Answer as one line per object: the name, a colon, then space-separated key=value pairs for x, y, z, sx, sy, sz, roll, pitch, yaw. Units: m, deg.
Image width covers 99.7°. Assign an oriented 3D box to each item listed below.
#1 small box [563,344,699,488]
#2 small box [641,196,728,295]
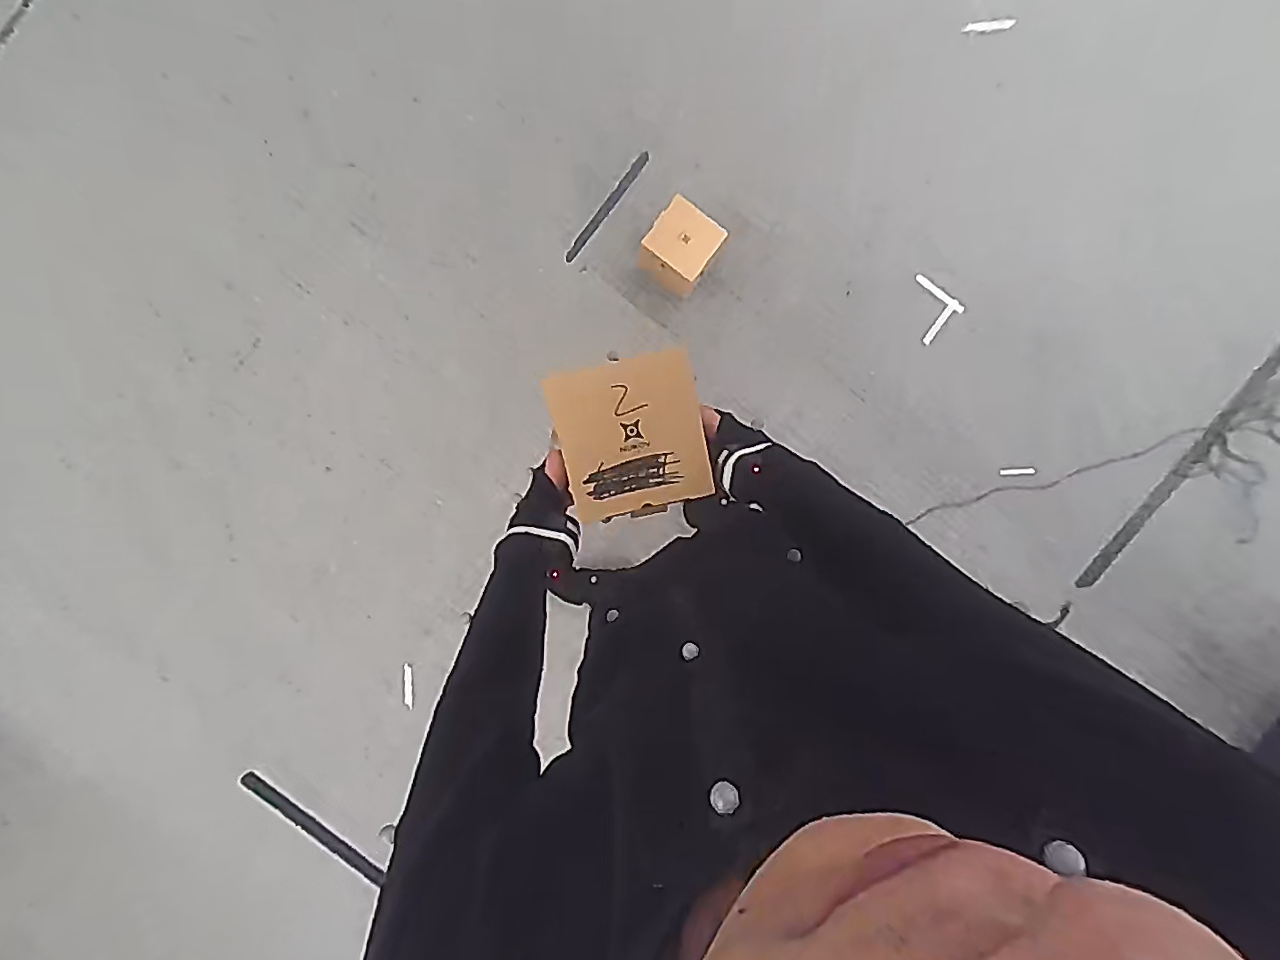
small box: x=-0.019 y=-0.104 z=0.850 sx=0.168 sy=0.176 sz=0.179 roll=-15 pitch=103 yaw=-2
small box: x=0.118 y=-0.643 z=1.513 sx=0.179 sy=0.176 sz=0.168 roll=37 pitch=92 yaw=-2
